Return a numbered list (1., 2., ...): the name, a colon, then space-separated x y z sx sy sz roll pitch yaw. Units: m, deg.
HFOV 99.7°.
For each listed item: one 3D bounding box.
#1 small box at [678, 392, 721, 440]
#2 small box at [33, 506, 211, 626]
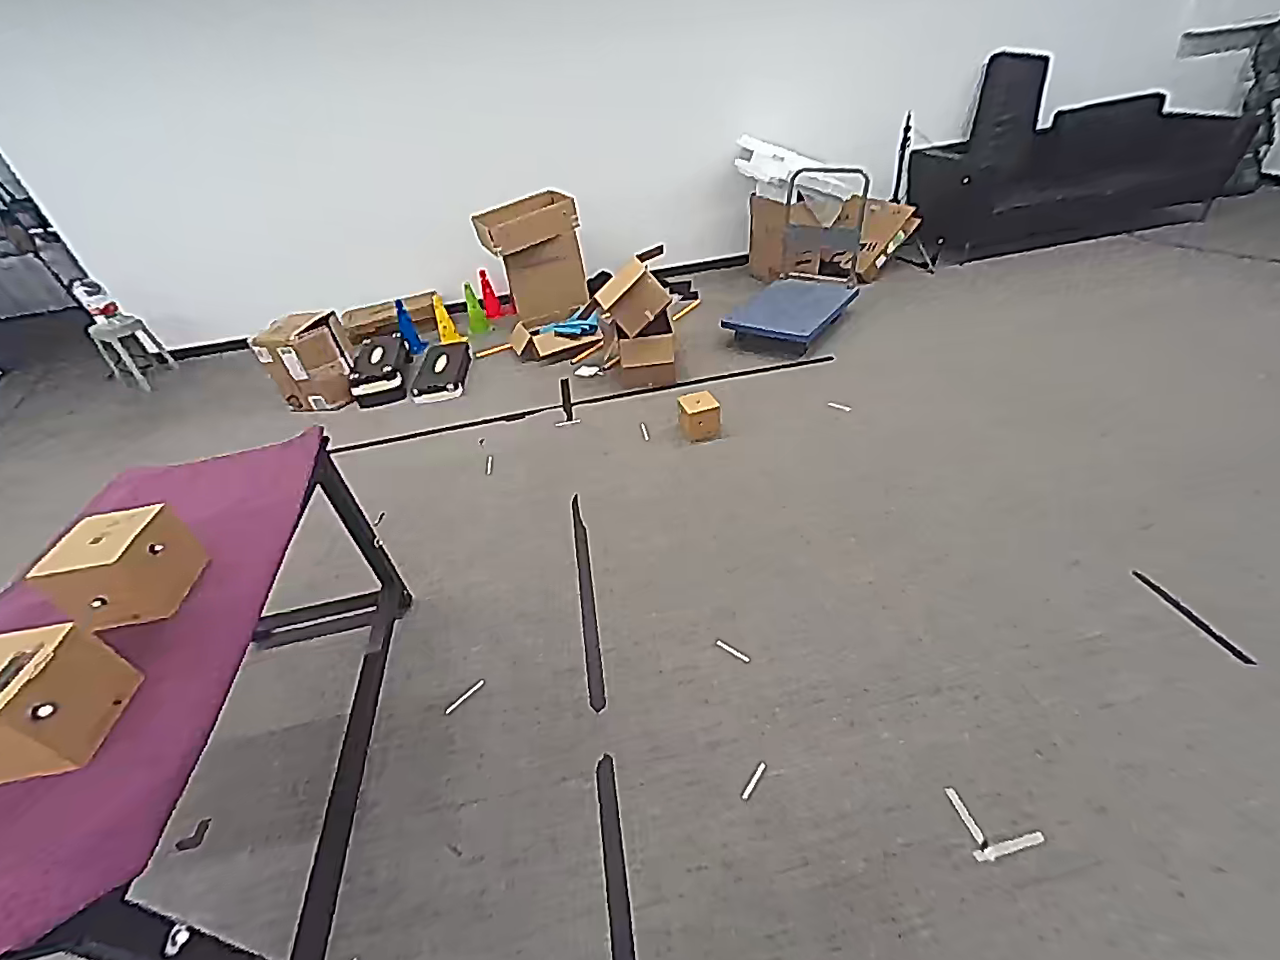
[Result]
1. small box: 0.299 -0.315 2.712 0.168 0.176 0.179 -16 38 -9
2. small box: -1.044 0.182 1.114 0.168 0.176 0.179 -10 37 -2
